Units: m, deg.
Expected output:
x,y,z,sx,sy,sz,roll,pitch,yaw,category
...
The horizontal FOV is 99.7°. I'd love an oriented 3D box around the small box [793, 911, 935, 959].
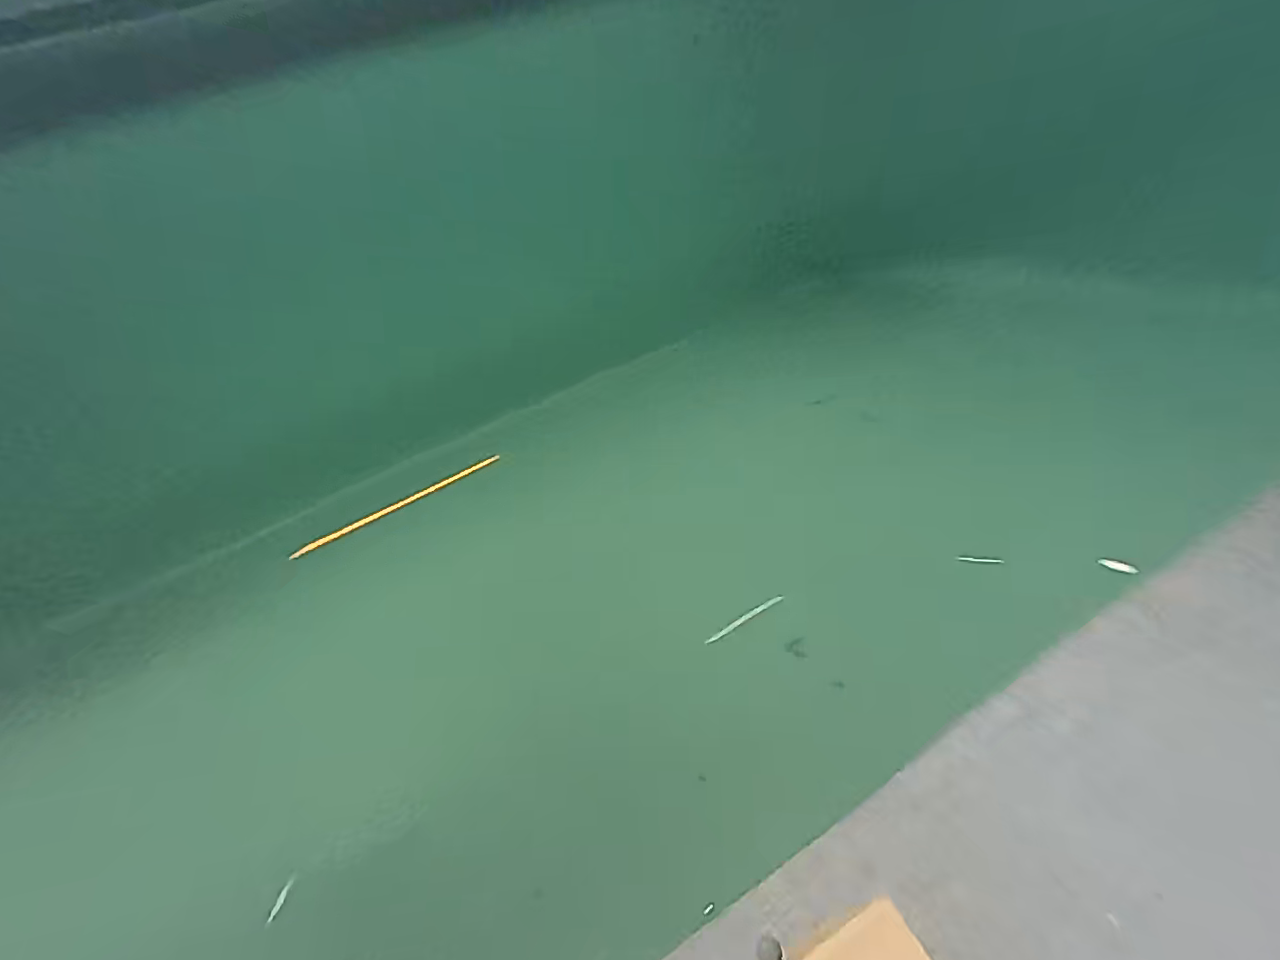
x,y,z,sx,sy,sz,roll,pitch,yaw,category
0.108,0.366,0.272,0.168,0.176,0.179,-22,51,-15,small box
